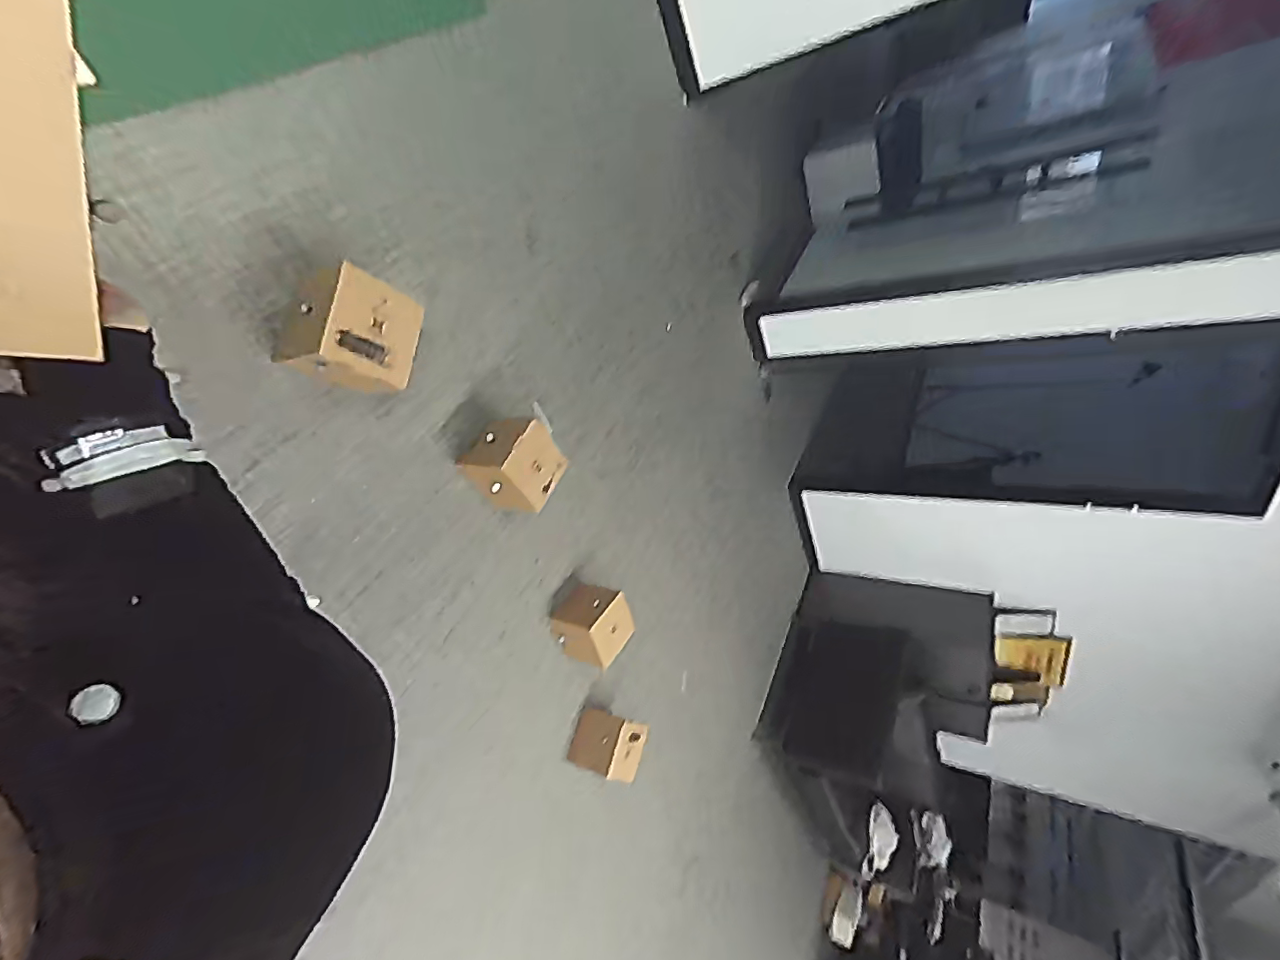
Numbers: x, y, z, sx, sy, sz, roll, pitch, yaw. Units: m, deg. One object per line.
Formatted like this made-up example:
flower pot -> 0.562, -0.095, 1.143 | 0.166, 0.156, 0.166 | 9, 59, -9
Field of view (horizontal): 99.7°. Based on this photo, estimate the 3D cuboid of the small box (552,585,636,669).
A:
small box -> -0.141, 0.446, 1.675 | 0.179, 0.176, 0.168 | -45, 127, -45

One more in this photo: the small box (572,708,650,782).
small box -> -0.097, 0.865, 1.773 | 0.168, 0.176, 0.179 | 45, 57, -48

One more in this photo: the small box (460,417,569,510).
small box -> -0.318, -0.040, 1.372 | 0.179, 0.176, 0.168 | 57, 48, -40

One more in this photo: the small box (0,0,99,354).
small box -> -0.380, -0.169, 0.253 | 0.168, 0.176, 0.179 | -8, 116, -47
